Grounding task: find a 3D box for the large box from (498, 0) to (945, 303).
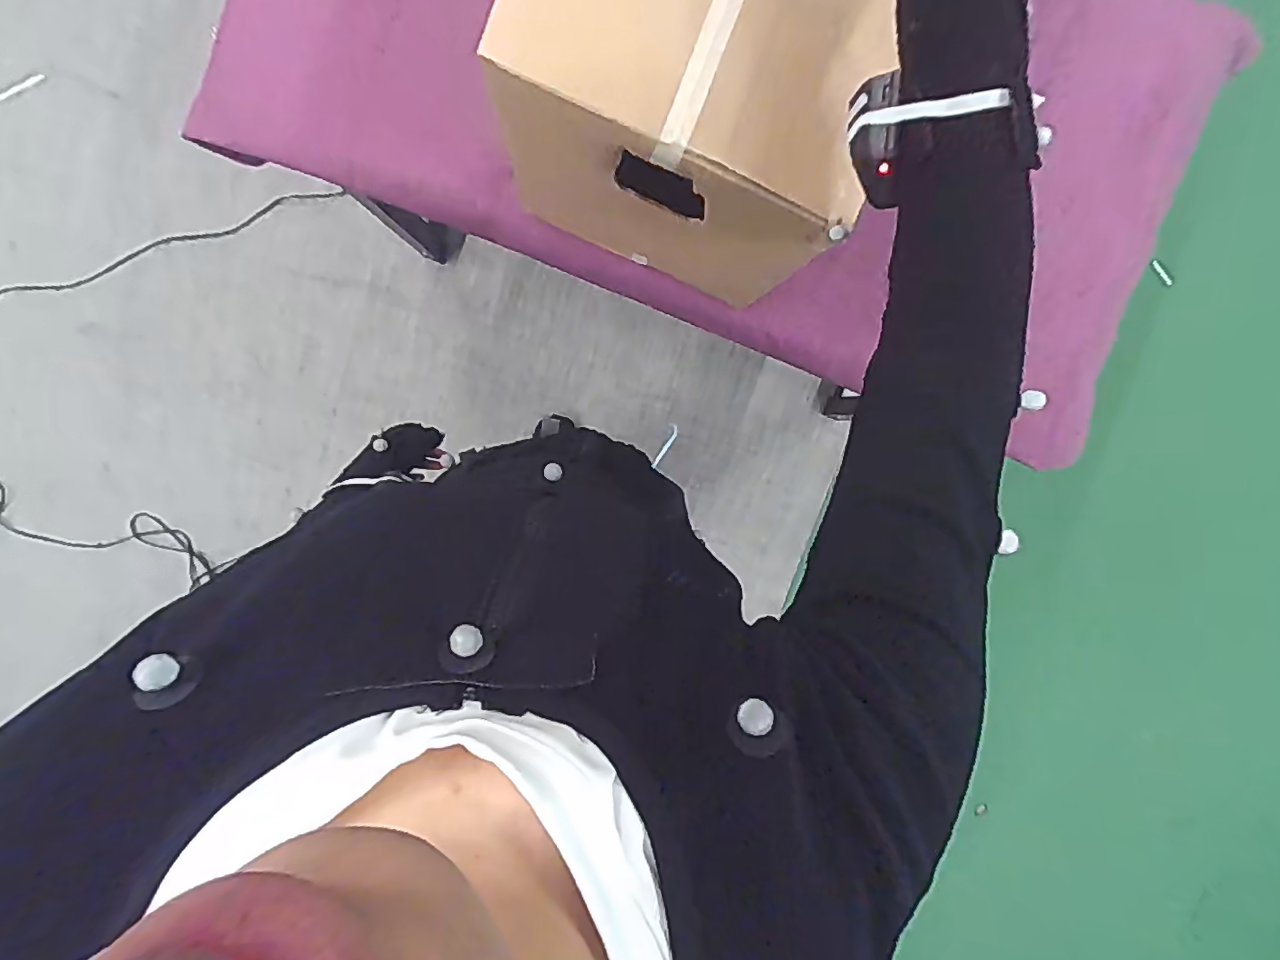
[{"bbox_3d":[0.090,-0.459,0.563,0.320,0.320,0.408,23,95,-7],"label":"large box"}]
